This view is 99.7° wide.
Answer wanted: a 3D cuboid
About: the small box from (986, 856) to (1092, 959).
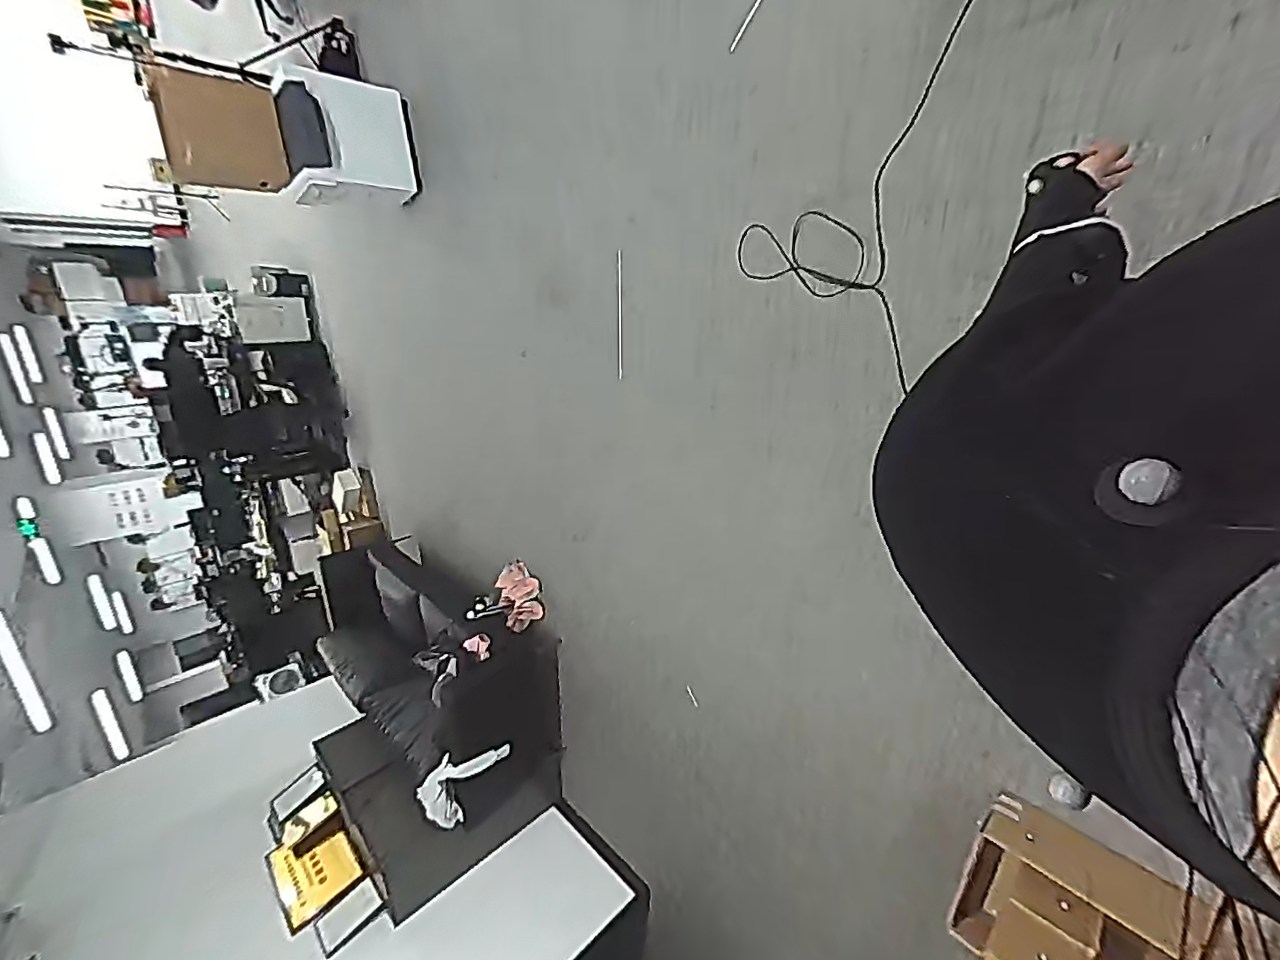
[{"bbox_3d":[1.010,1.112,1.366,0.179,0.176,0.168,18,114,40],"label":"small box"}]
